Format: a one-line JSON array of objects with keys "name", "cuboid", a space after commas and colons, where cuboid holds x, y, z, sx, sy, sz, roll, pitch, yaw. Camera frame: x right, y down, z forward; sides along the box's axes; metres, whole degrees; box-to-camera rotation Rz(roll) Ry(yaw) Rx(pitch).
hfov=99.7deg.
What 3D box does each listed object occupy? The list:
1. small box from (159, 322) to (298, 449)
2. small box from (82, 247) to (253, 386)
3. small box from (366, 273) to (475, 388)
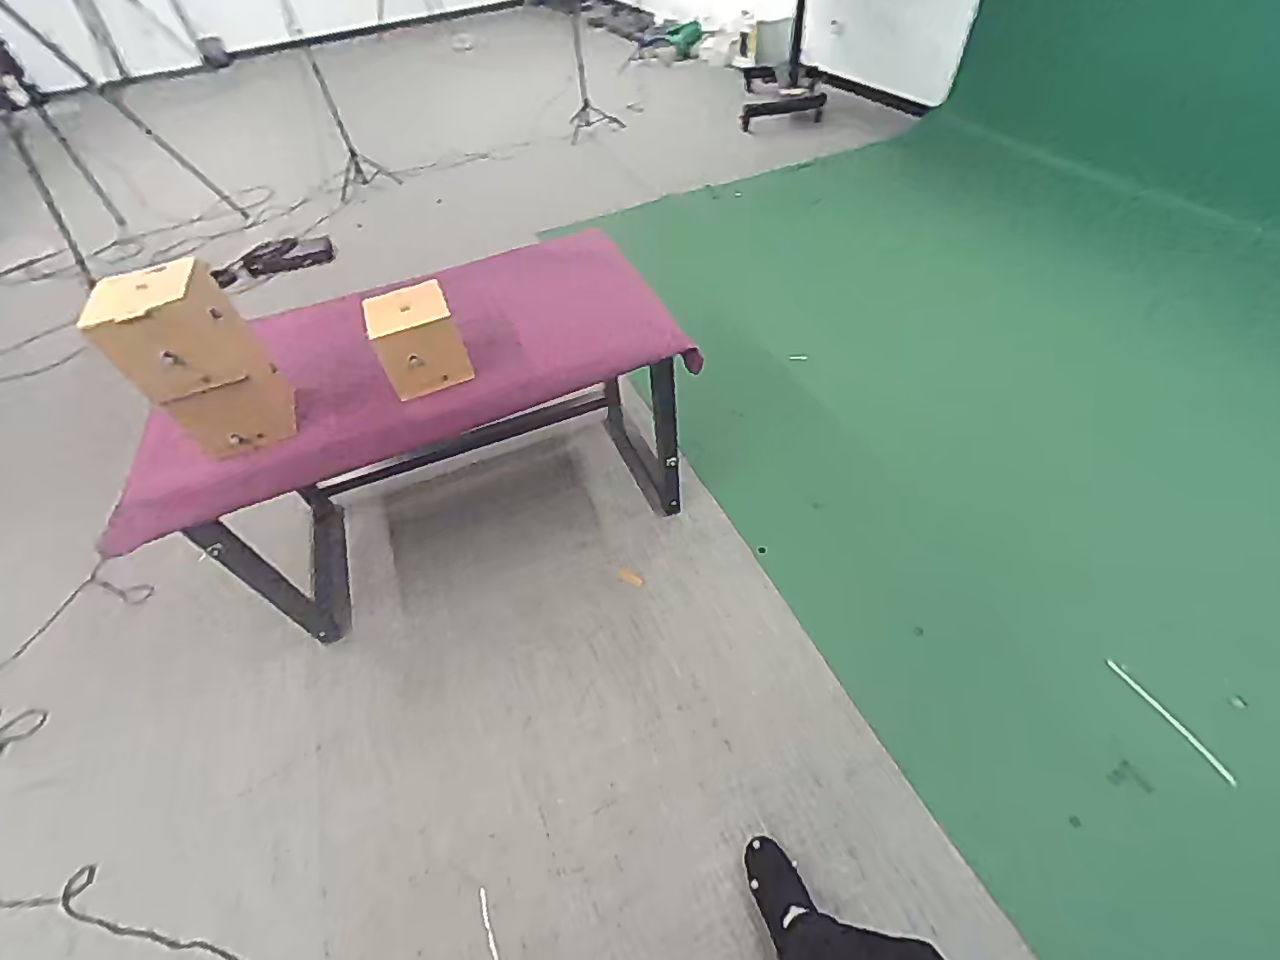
[{"name": "small box", "cuboid": [-0.843, -0.195, 1.129, 0.168, 0.176, 0.179, -21, 52, -12]}, {"name": "small box", "cuboid": [-0.851, -0.293, 0.997, 0.168, 0.176, 0.179, -20, 52, -11]}, {"name": "small box", "cuboid": [-0.484, -0.325, 1.203, 0.168, 0.176, 0.179, -22, 50, -12]}]
